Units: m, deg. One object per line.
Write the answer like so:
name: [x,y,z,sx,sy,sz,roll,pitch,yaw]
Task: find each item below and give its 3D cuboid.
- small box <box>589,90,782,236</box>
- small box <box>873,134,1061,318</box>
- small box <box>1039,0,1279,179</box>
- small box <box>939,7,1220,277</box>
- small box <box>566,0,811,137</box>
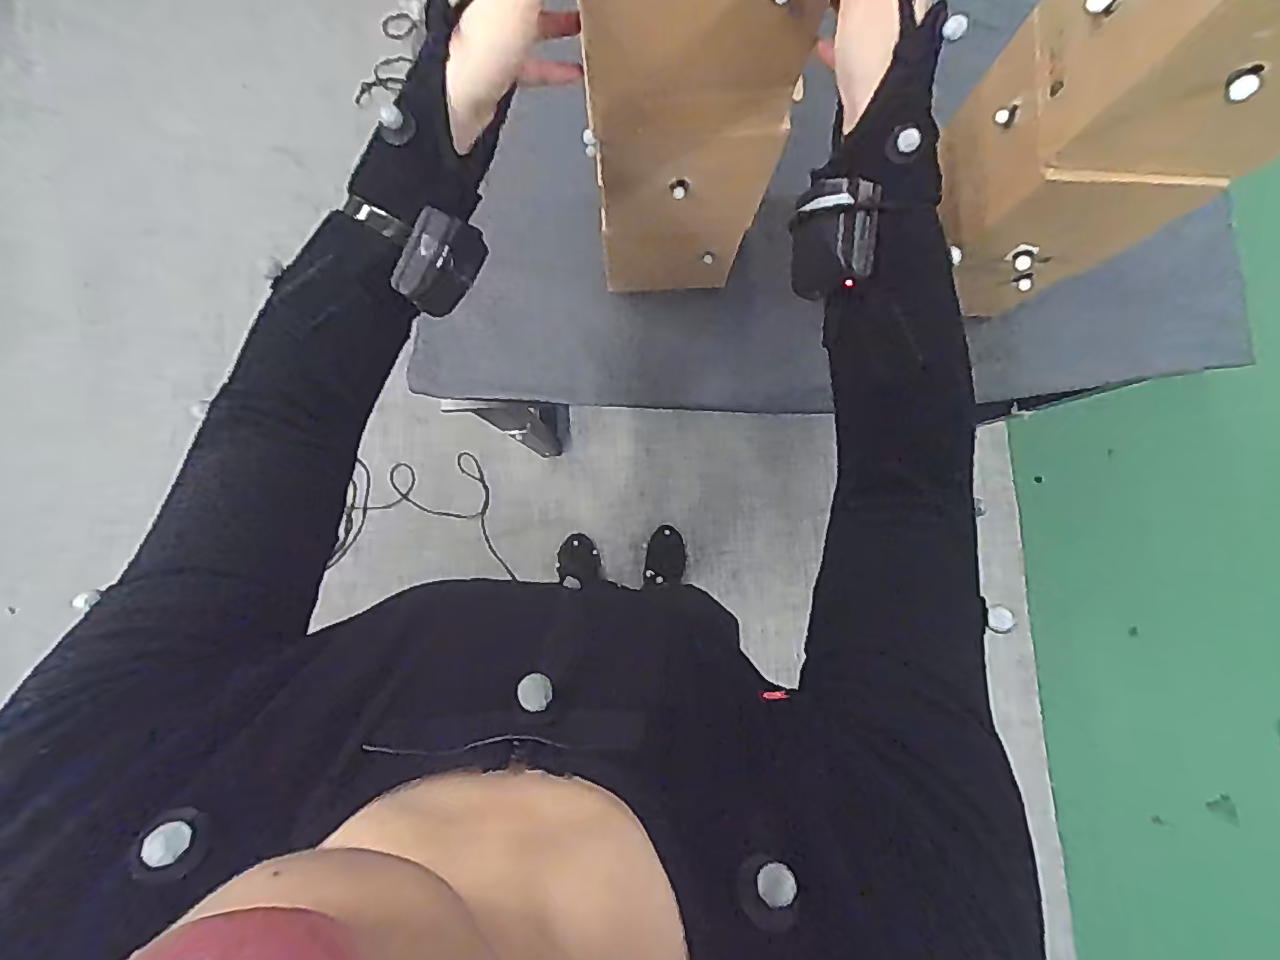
small box: [0.037,-0.379,0.569,0.179,0.176,0.168,-4,86,0]
small box: [0.438,-0.330,0.730,0.179,0.176,0.168,0,84,0]
small box: [0.439,-0.356,0.405,0.179,0.176,0.168,4,85,2]
small box: [0.437,-0.338,0.568,0.168,0.176,0.179,2,86,2]
small box: [0.030,-0.392,0.407,0.179,0.176,0.168,-5,86,-2]
